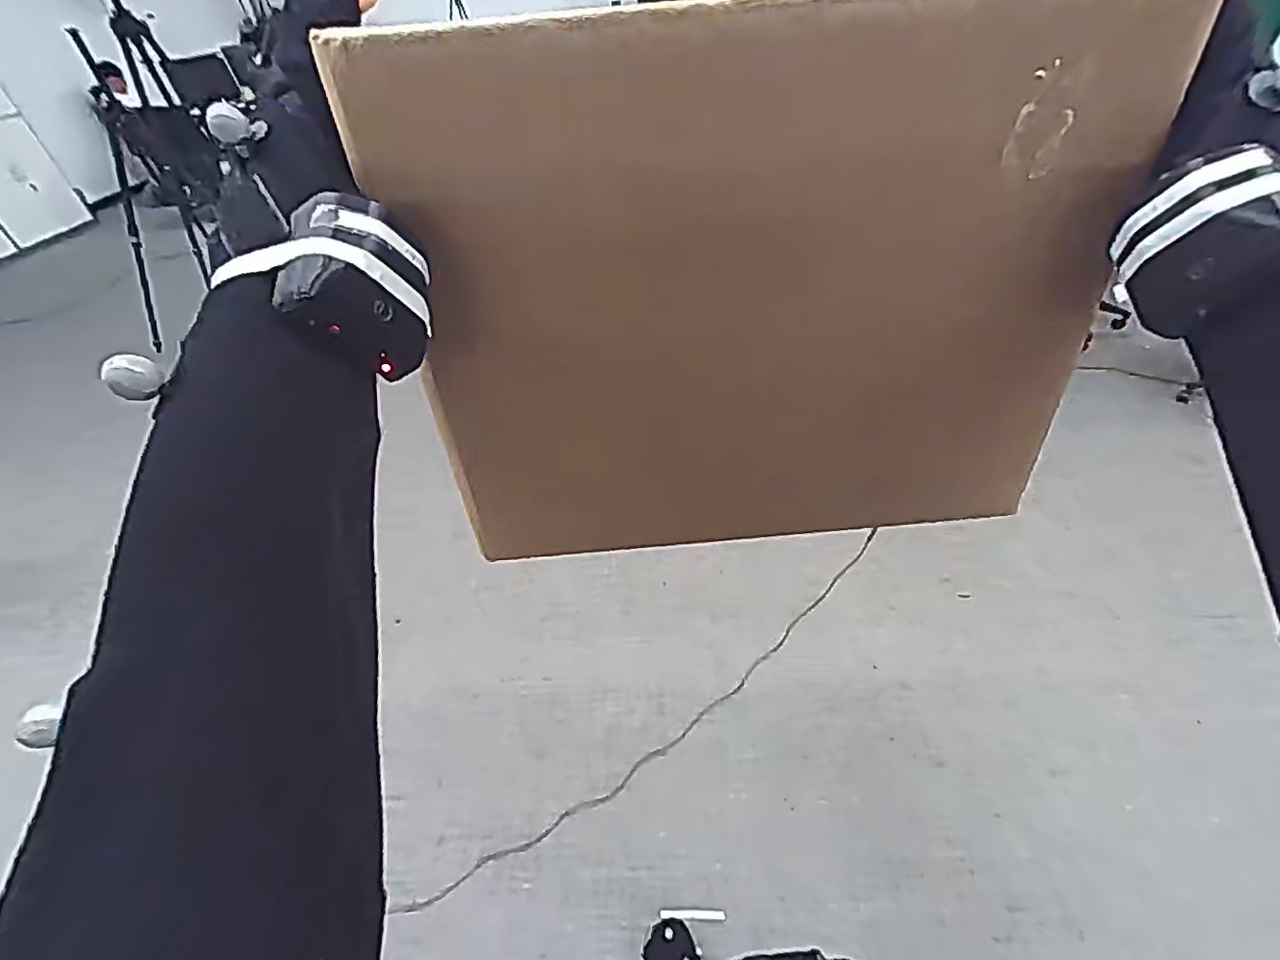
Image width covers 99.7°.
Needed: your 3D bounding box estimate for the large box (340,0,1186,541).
[{"bbox_3d":[0.060,-0.174,0.450,0.408,0.320,0.320,-5,35,0],"label":"large box"}]
